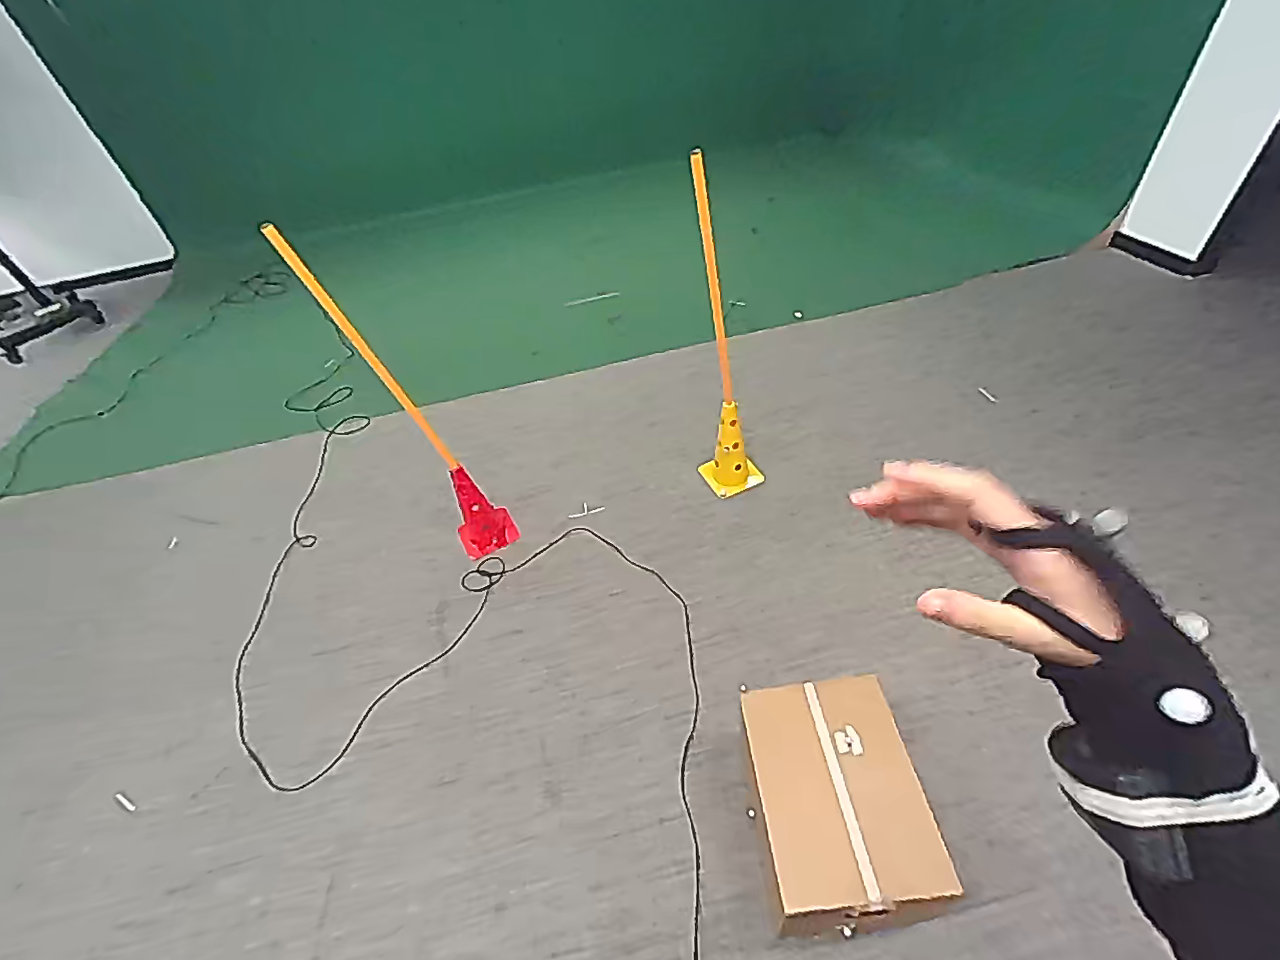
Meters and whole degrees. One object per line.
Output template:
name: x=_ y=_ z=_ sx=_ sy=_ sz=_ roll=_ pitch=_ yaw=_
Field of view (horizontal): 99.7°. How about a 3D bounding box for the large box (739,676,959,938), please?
large box: x=0.413 y=0.708 z=1.184 sx=0.320 sy=0.320 sz=0.408 roll=-8 pitch=43 yaw=2
